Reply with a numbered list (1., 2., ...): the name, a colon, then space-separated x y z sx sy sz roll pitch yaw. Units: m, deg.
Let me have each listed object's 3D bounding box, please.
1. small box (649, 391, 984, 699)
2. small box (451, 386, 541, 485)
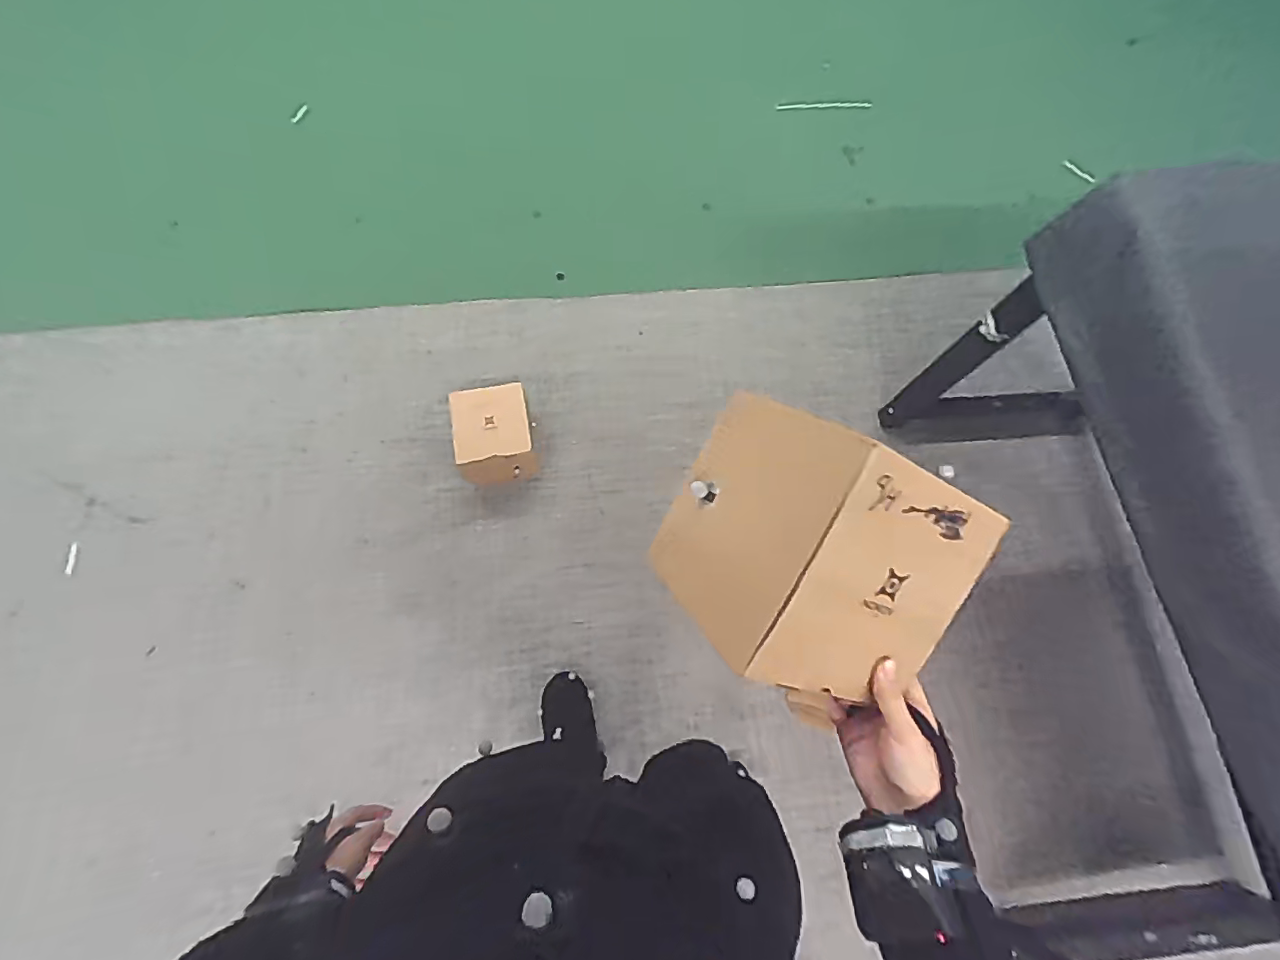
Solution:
1. small box: 0.127 0.047 0.452 0.168 0.176 0.179 21 100 -28
2. small box: -0.333 -0.096 1.270 0.168 0.176 0.179 -10 72 -7
